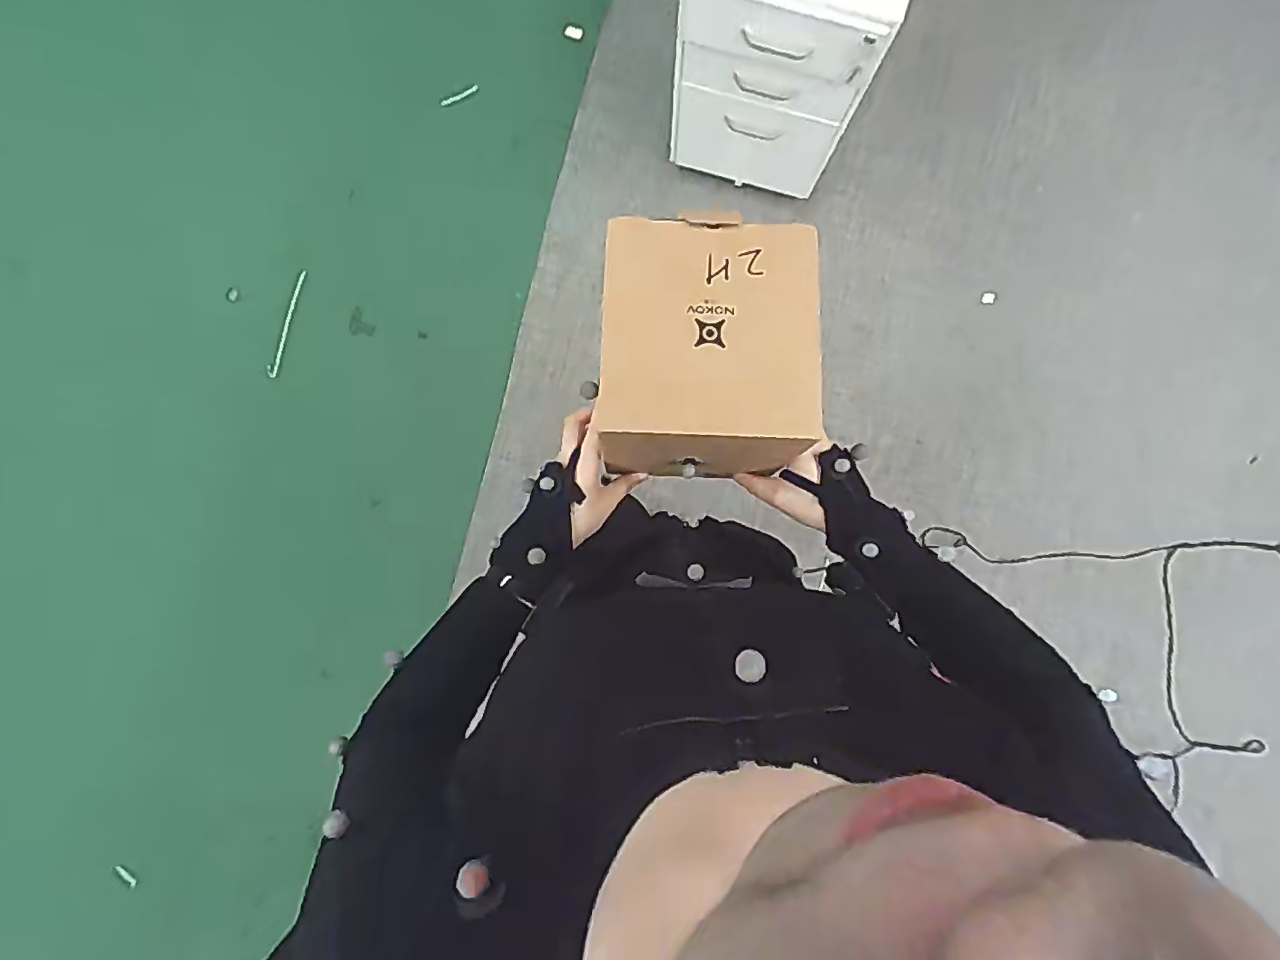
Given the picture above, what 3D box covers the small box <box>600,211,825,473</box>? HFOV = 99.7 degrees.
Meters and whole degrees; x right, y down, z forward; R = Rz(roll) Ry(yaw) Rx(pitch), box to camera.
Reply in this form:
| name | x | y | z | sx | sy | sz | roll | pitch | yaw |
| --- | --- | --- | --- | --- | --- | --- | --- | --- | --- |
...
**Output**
| name | x | y | z | sx | sy | sz | roll | pitch | yaw |
| --- | --- | --- | --- | --- | --- | --- | --- | --- | --- |
| small box | 0.055 | -0.105 | 0.483 | 0.168 | 0.176 | 0.179 | 3 | 80 | -1 |
